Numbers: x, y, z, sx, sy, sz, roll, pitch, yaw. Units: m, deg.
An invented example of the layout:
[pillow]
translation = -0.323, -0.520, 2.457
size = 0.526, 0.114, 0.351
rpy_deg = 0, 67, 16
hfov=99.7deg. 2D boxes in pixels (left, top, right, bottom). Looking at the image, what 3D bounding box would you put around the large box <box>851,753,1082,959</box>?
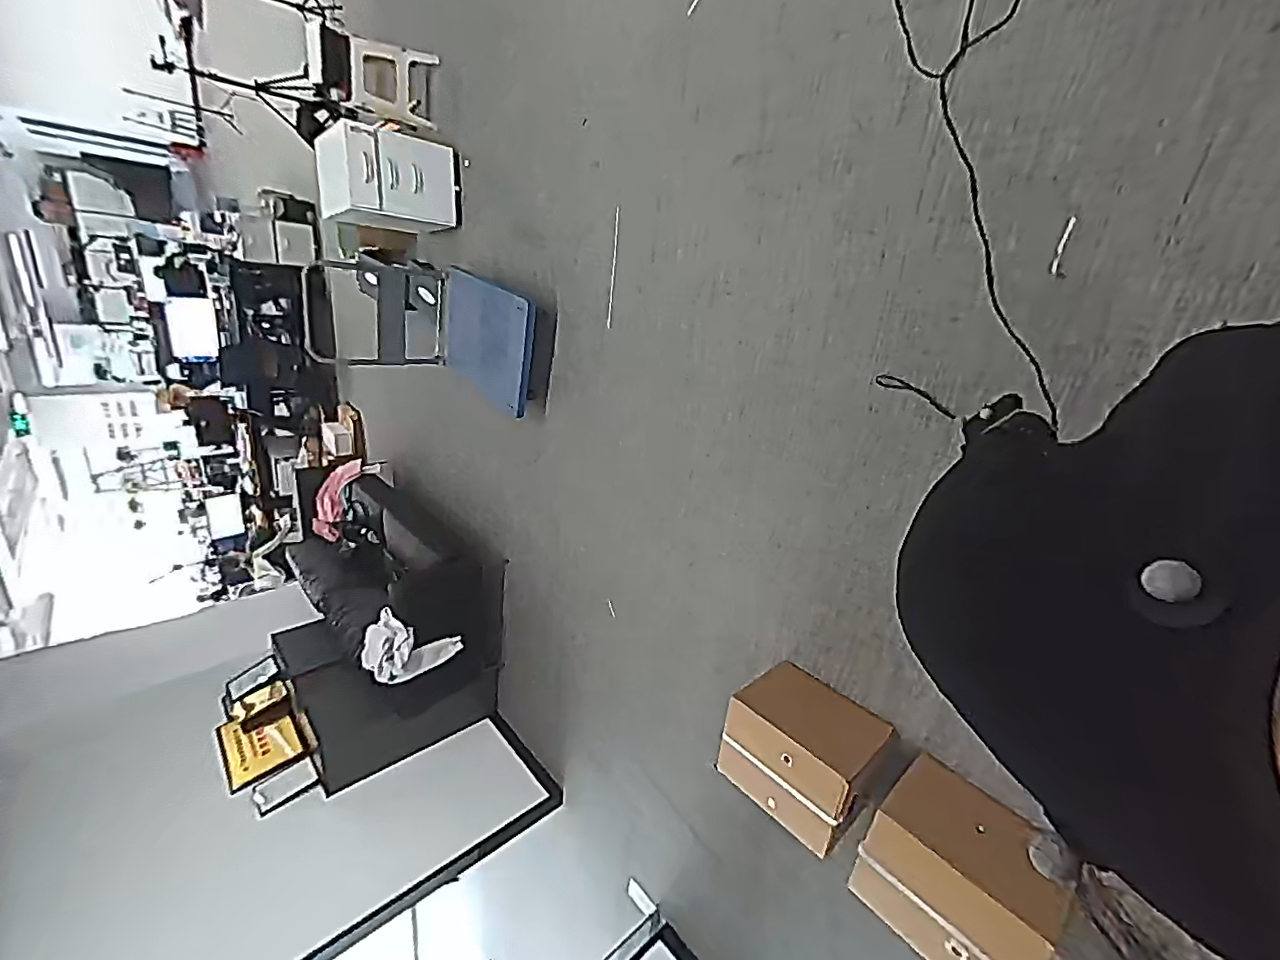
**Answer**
[large box]
translation = 0.842, 1.024, 1.420
size = 0.408, 0.320, 0.320
rpy_deg = 27, 118, 39
